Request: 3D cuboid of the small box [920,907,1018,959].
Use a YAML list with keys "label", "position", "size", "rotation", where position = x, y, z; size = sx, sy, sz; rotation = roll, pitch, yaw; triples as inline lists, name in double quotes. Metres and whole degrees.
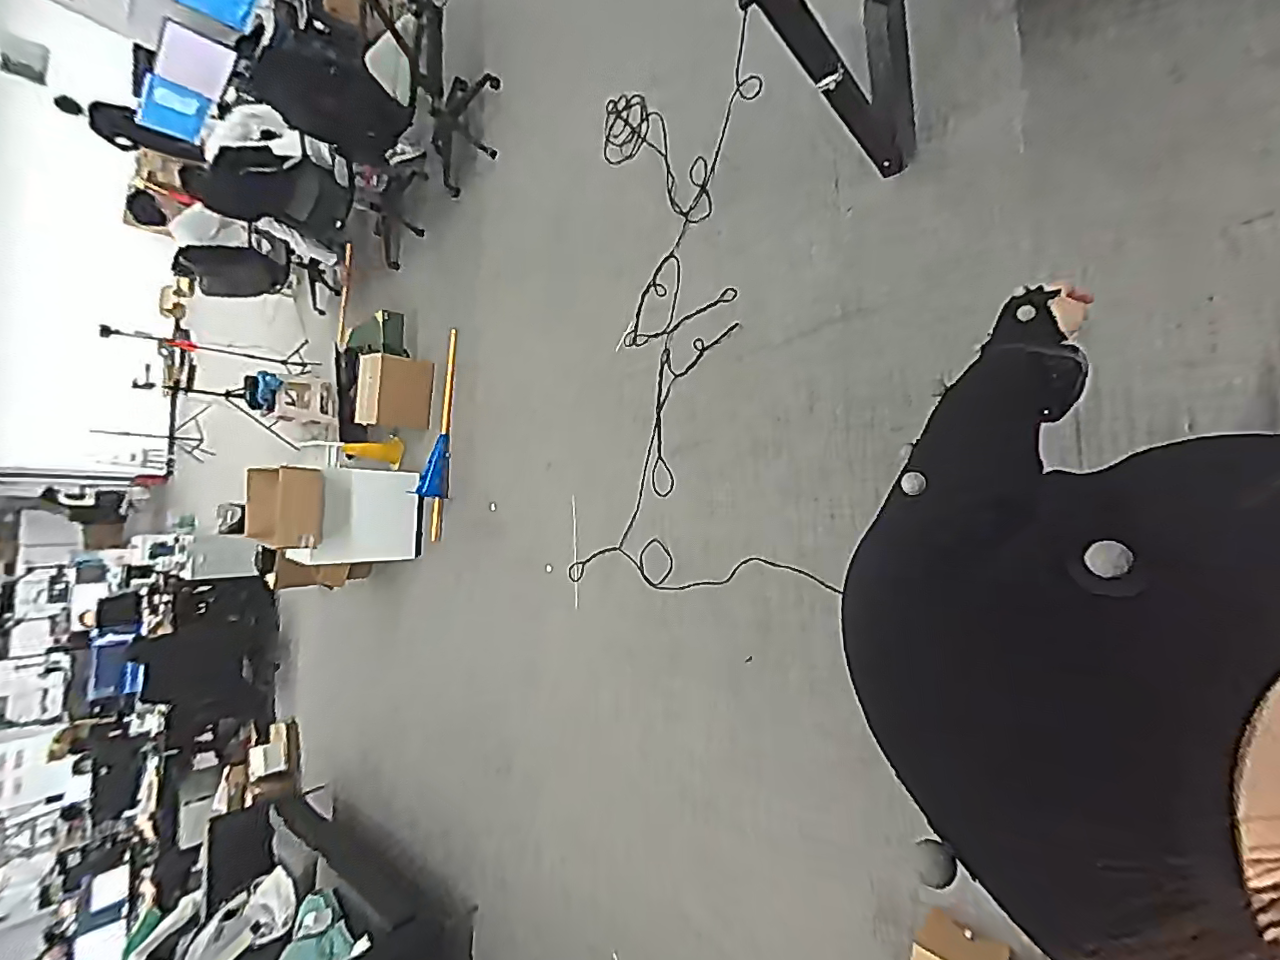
- label: "small box"
  position: [0.747, 1.138, 1.228]
  size: [0.168, 0.176, 0.179]
  rotation: [3, 89, 42]
